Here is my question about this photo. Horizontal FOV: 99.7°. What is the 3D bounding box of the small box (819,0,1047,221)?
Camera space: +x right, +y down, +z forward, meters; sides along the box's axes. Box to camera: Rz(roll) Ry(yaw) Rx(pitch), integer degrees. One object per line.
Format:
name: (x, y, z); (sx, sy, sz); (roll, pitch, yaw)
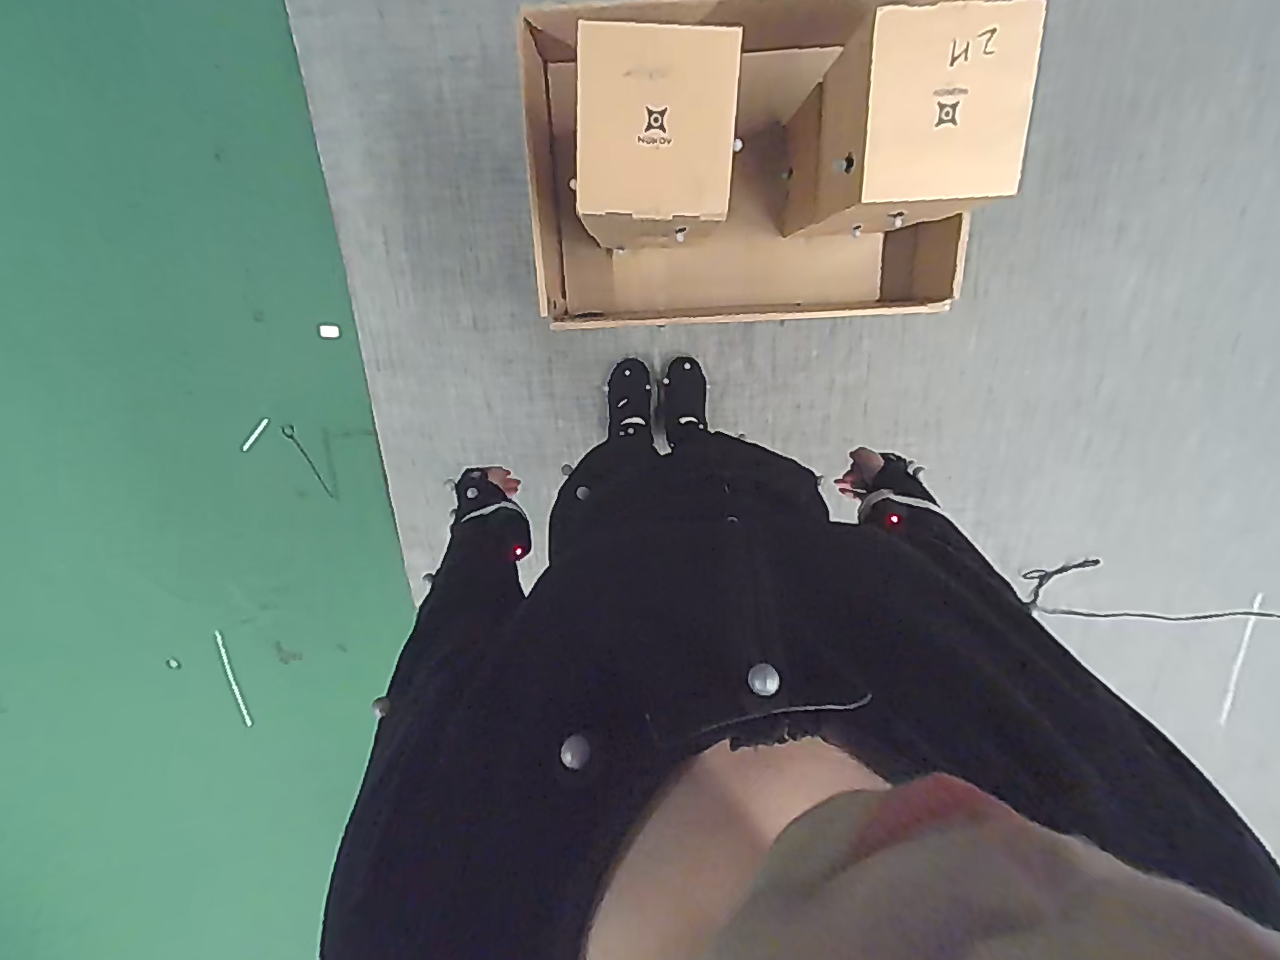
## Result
small box: (0.312, -0.401, 0.620); (0.168, 0.176, 0.179); (-1, 108, 2)

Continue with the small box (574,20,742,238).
small box: (0.017, -0.390, 0.635); (0.168, 0.176, 0.179); (3, 107, -1)
